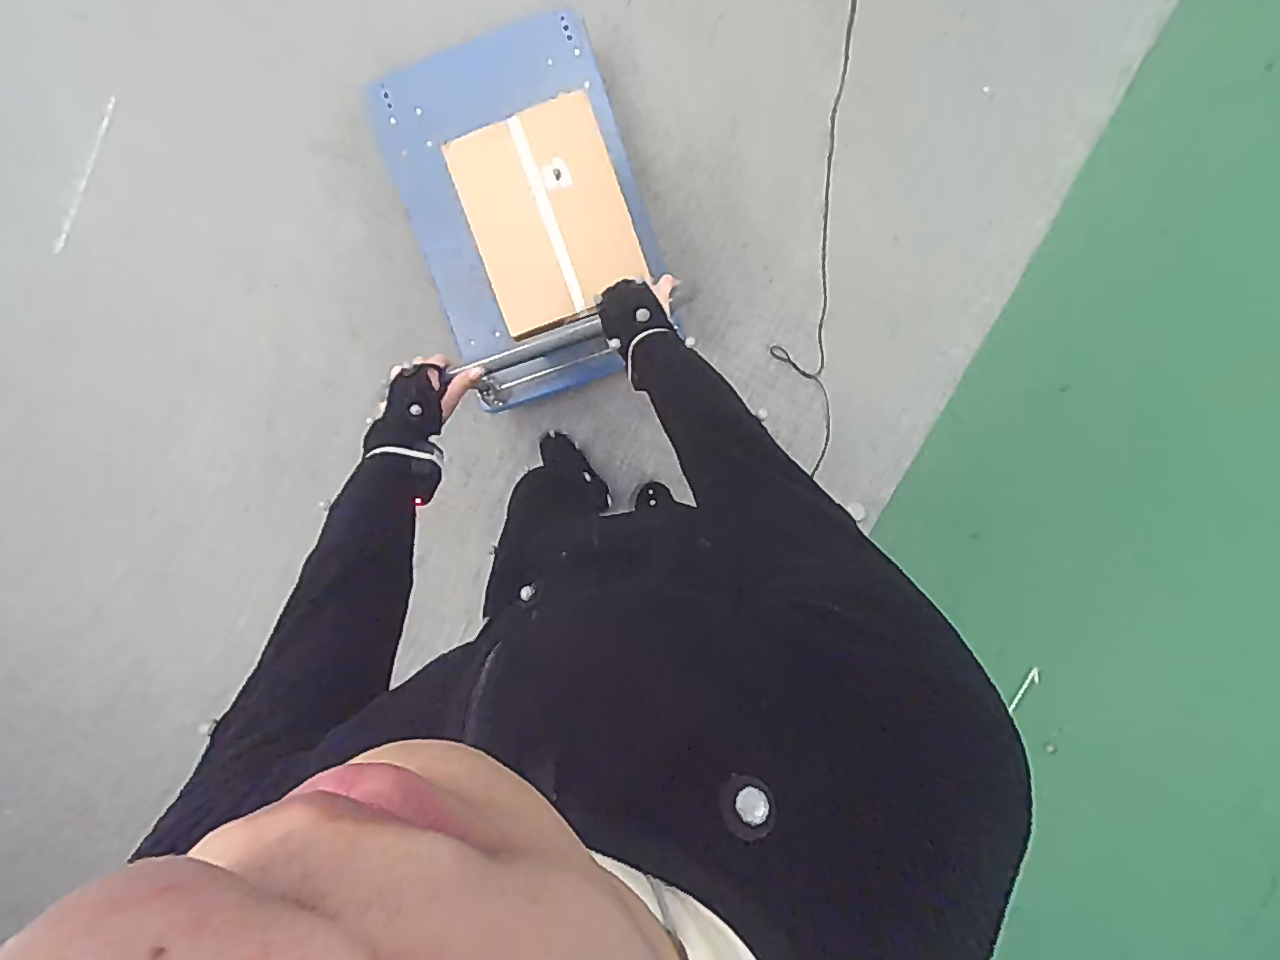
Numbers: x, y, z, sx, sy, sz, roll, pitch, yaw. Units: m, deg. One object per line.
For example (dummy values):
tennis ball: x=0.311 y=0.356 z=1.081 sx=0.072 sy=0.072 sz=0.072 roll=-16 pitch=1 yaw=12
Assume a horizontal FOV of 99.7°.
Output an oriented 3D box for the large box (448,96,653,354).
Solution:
large box: x=-0.179 y=-0.553 z=1.260 sx=0.320 sy=0.320 sz=0.408 roll=-19 pitch=94 yaw=2
